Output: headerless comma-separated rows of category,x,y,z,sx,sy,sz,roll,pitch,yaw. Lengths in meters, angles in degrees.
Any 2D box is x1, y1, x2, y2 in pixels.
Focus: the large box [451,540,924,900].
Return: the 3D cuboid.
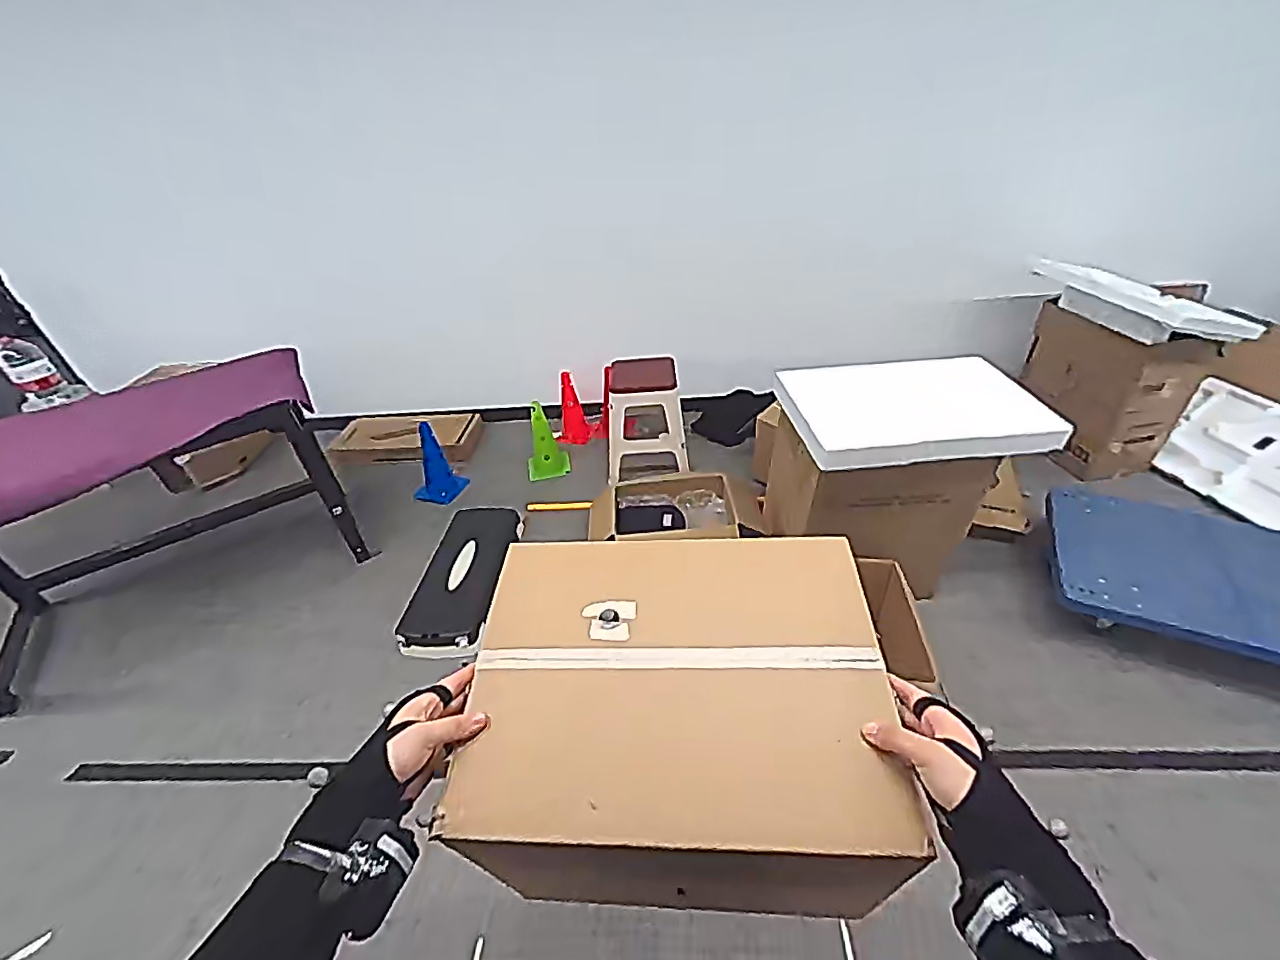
large box,0.053,0.296,0.657,0.408,0.320,0.320,-3,43,6
